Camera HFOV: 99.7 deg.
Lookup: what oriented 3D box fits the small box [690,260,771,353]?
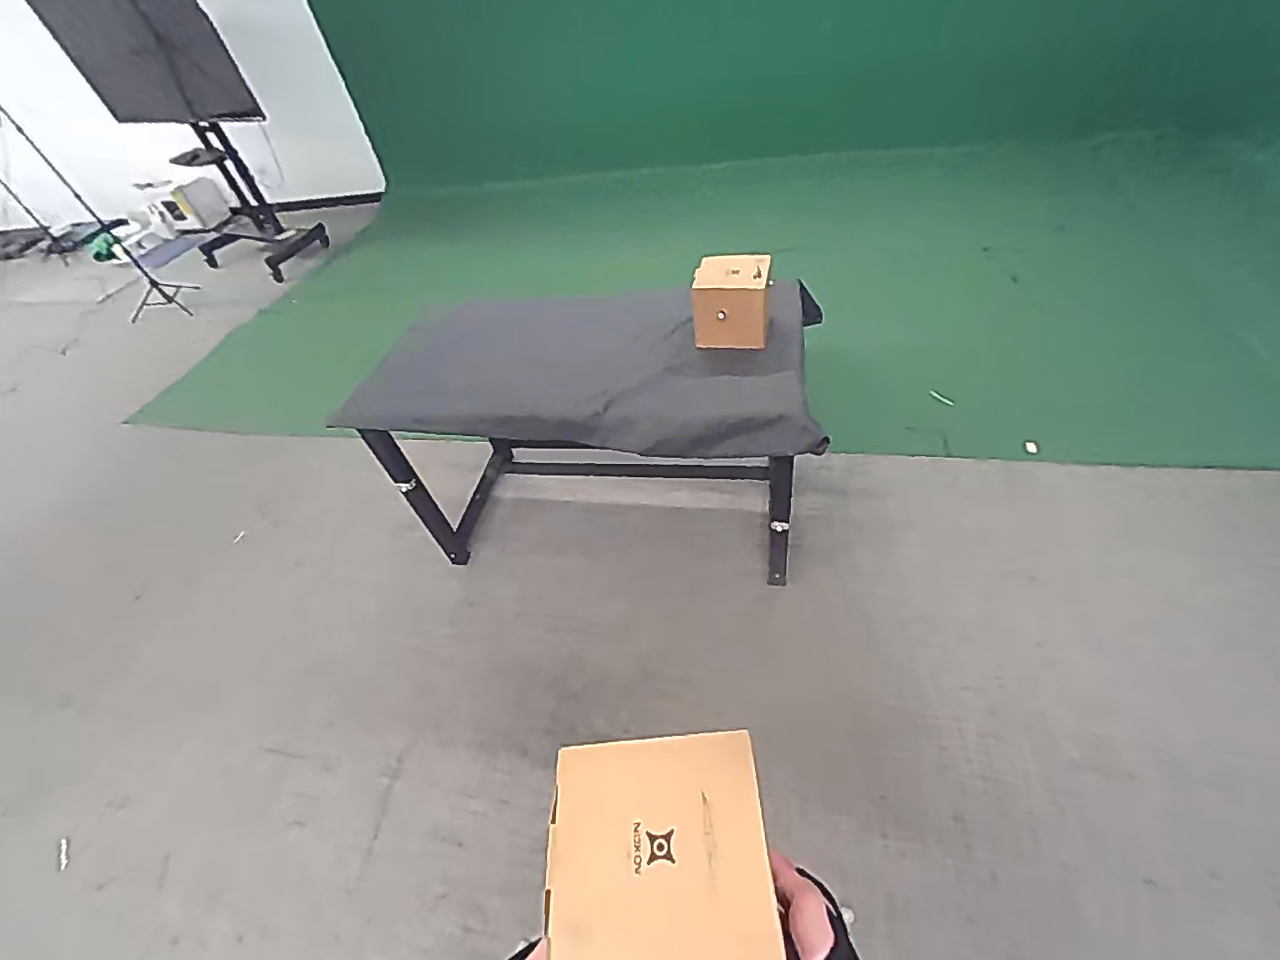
[{"bbox_3d":[0.238,-0.440,1.382,0.179,0.176,0.168,4,49,17],"label":"small box"}]

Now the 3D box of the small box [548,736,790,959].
[{"bbox_3d":[0.032,0.348,0.482,0.179,0.176,0.168,-9,47,6],"label":"small box"}]
